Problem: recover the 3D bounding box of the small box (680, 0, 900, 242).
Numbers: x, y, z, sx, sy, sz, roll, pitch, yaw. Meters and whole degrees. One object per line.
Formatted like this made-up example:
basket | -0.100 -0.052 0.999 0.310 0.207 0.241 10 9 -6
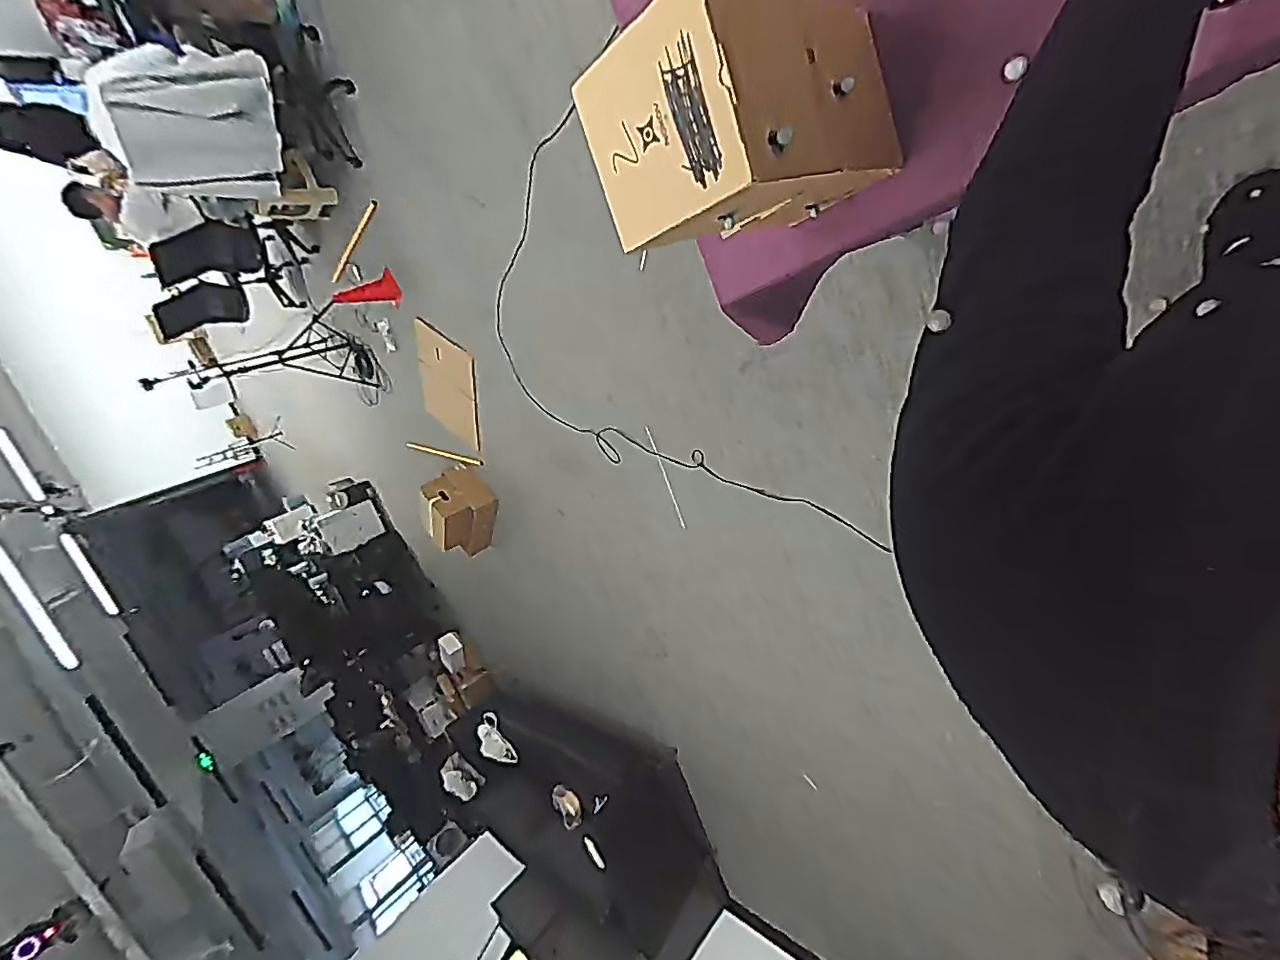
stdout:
small box | 0.183 -0.414 0.650 0.168 0.176 0.179 -8 108 50
